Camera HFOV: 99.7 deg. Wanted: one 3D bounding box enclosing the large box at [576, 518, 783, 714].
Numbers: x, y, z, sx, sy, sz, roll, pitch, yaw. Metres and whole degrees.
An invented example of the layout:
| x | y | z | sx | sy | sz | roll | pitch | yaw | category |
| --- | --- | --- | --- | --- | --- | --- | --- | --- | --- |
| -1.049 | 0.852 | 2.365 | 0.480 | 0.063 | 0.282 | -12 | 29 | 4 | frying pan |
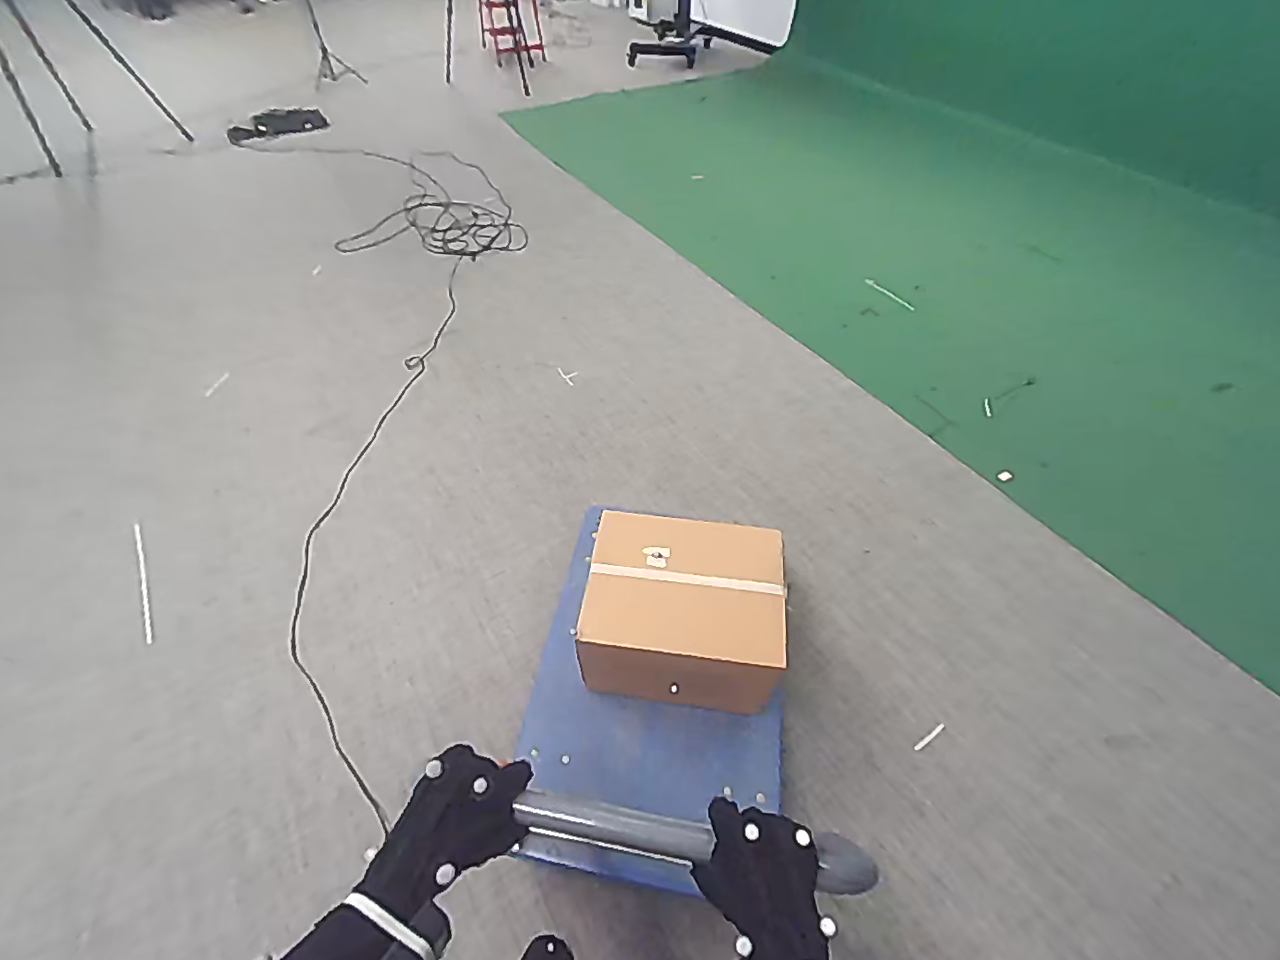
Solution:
| x | y | z | sx | sy | sz | roll | pitch | yaw | category |
| --- | --- | --- | --- | --- | --- | --- | --- | --- | --- |
| 0.091 | 0.315 | 1.233 | 0.408 | 0.320 | 0.320 | 6 | 50 | 5 | large box |
